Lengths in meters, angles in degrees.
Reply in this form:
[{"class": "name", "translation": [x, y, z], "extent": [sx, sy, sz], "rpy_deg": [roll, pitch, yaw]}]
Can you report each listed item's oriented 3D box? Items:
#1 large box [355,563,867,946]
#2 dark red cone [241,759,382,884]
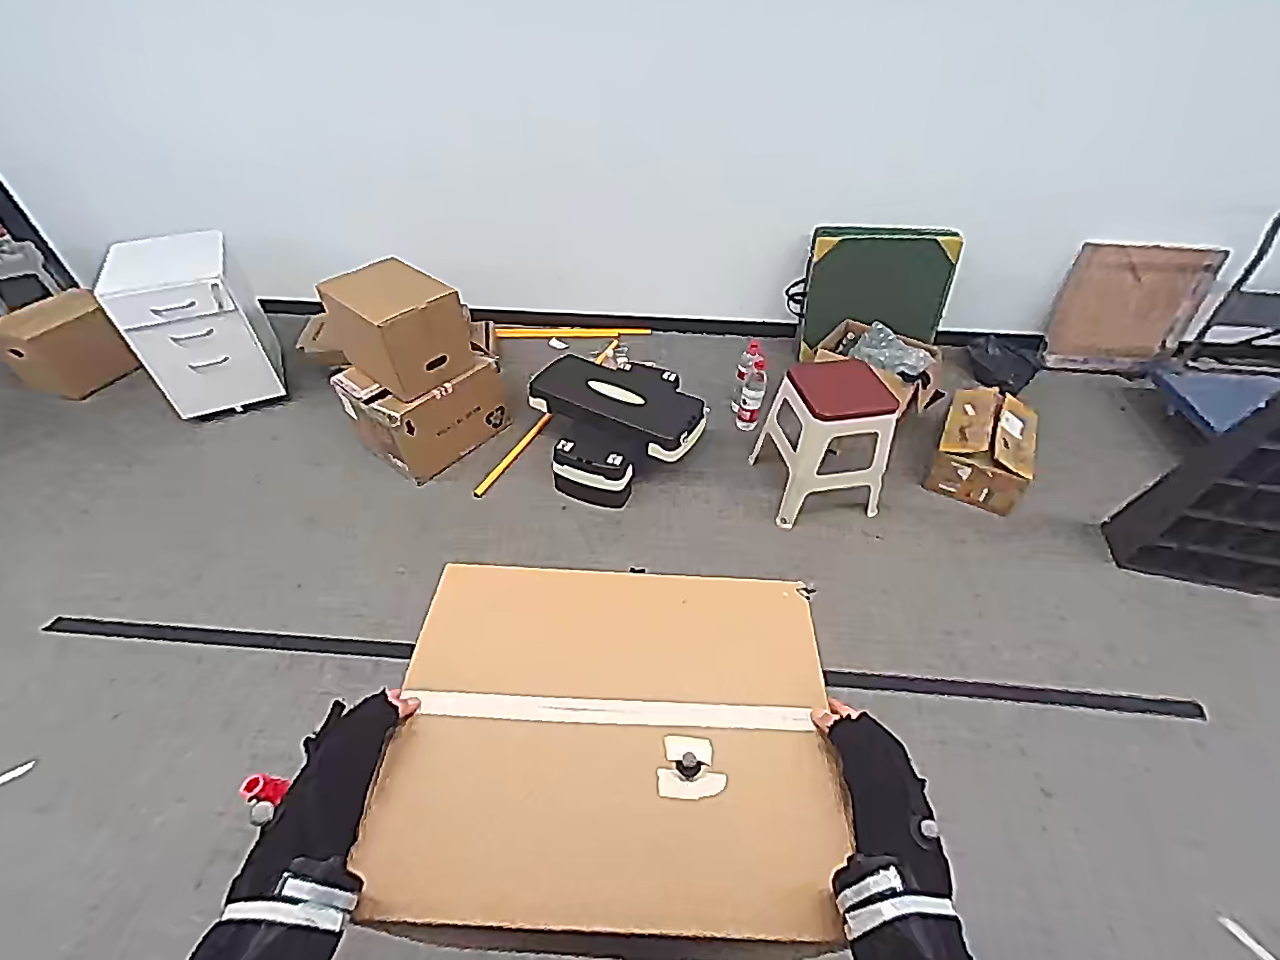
[{"class": "large box", "translation": [-0.026, 0.317, 0.621], "extent": [0.408, 0.320, 0.320], "rpy_deg": [3, 46, -1]}, {"class": "dark red cone", "translation": [-0.720, 0.672, 1.125], "extent": [0.201, 0.394, 0.202], "rpy_deg": [9, 45, 7]}]
